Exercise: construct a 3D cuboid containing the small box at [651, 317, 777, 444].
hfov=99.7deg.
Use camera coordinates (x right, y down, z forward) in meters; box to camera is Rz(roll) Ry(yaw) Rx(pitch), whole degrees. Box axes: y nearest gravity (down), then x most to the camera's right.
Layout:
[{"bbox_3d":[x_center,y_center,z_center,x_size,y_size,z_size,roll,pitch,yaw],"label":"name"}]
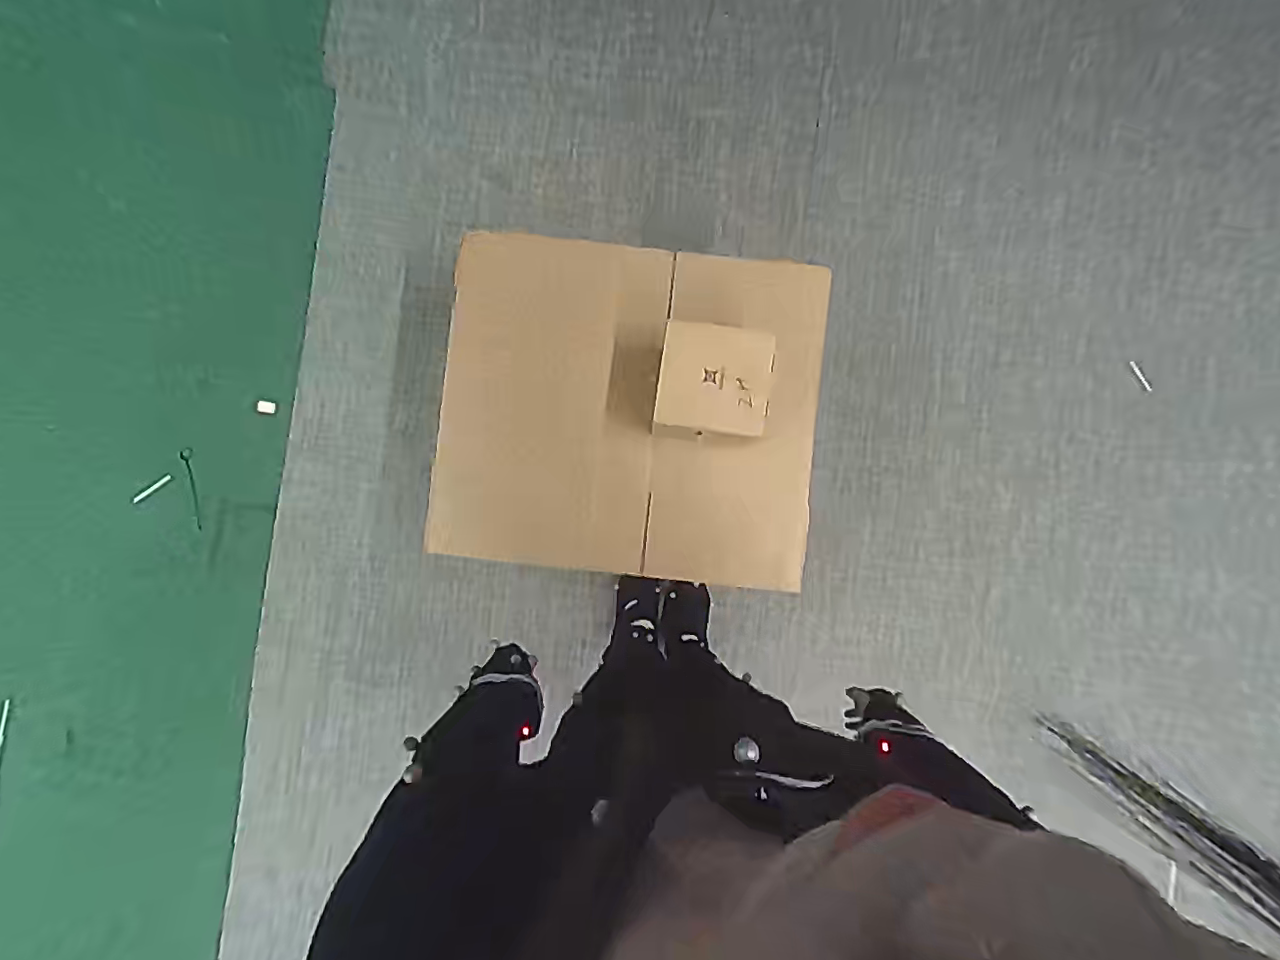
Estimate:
[{"bbox_3d":[0.117,-0.158,0.914,0.179,0.176,0.168,9,88,2],"label":"small box"}]
